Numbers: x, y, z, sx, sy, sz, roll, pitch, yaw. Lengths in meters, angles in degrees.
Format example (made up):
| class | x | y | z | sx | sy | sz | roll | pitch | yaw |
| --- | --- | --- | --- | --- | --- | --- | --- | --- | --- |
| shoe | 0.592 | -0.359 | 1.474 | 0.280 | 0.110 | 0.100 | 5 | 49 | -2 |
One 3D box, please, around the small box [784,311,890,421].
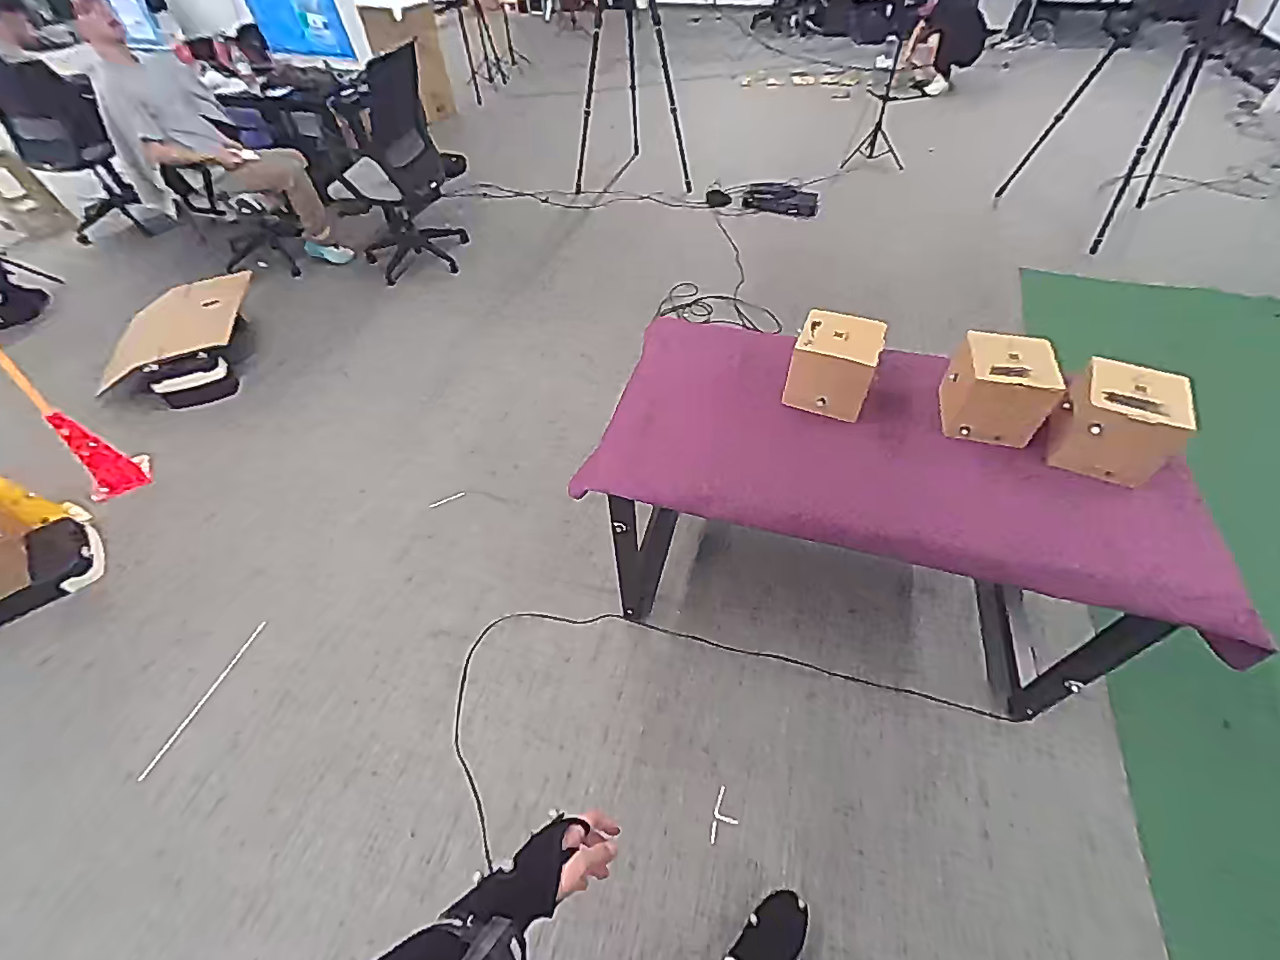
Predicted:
| class | x | y | z | sx | sy | sz | roll | pitch | yaw |
| --- | --- | --- | --- | --- | --- | --- | --- | --- | --- |
| small box | 0.452 | -0.260 | 1.256 | 0.179 | 0.176 | 0.168 | 19 | 53 | 17 |
